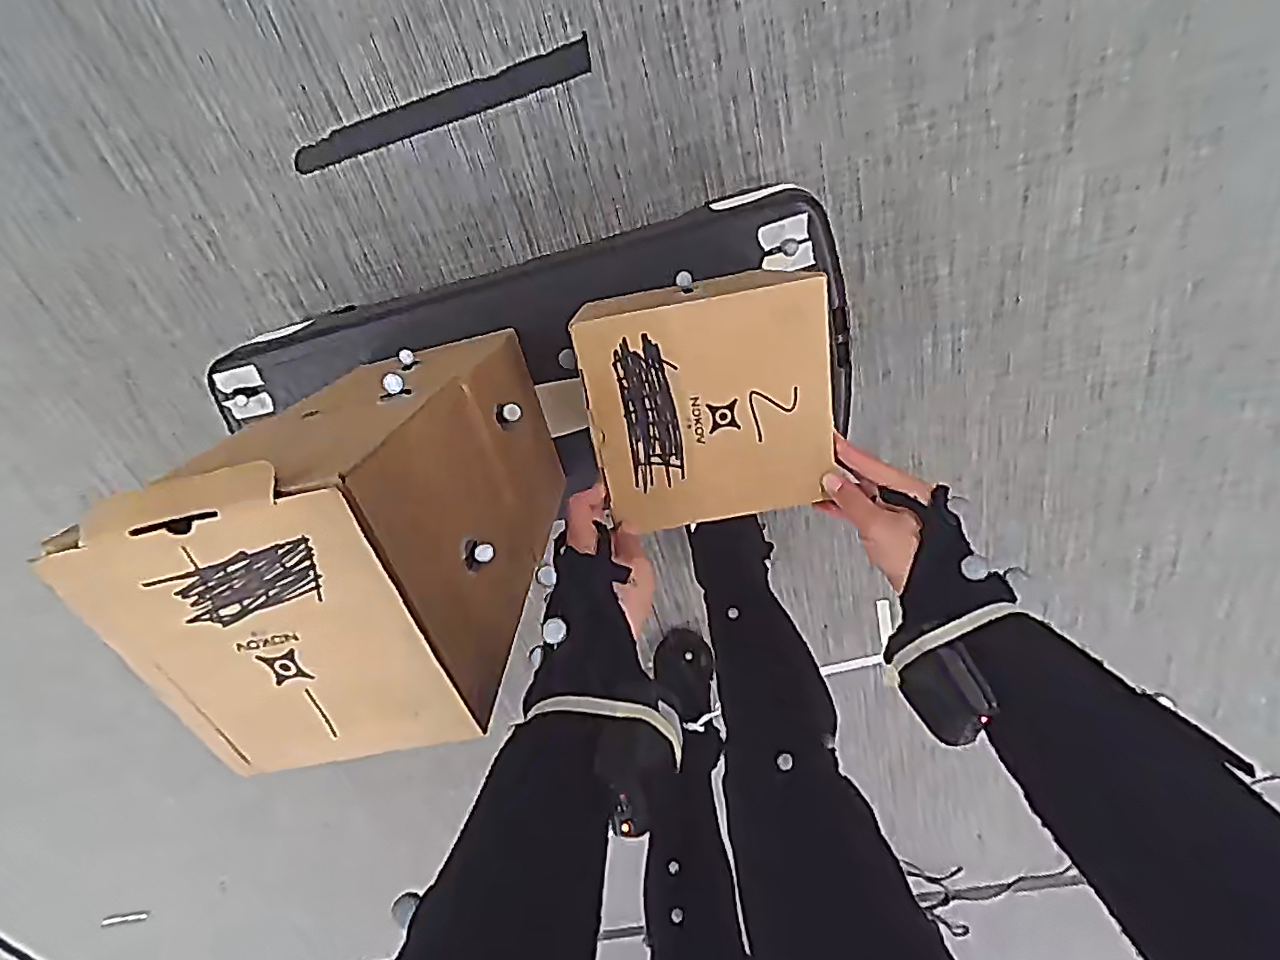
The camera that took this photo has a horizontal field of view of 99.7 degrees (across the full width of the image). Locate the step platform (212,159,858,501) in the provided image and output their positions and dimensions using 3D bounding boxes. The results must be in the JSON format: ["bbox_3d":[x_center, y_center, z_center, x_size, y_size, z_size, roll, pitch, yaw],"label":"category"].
[{"bbox_3d":[-0.106,-0.135,0.644,0.684,0.204,0.286,-13,116,8],"label":"step platform"}]

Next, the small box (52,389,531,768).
[{"bbox_3d":[-0.187,0.051,0.360,0.168,0.176,0.179,-12,117,7],"label":"small box"}]

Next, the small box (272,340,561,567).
[{"bbox_3d":[-0.183,-0.022,0.508,0.168,0.176,0.179,-11,117,6],"label":"small box"}]
